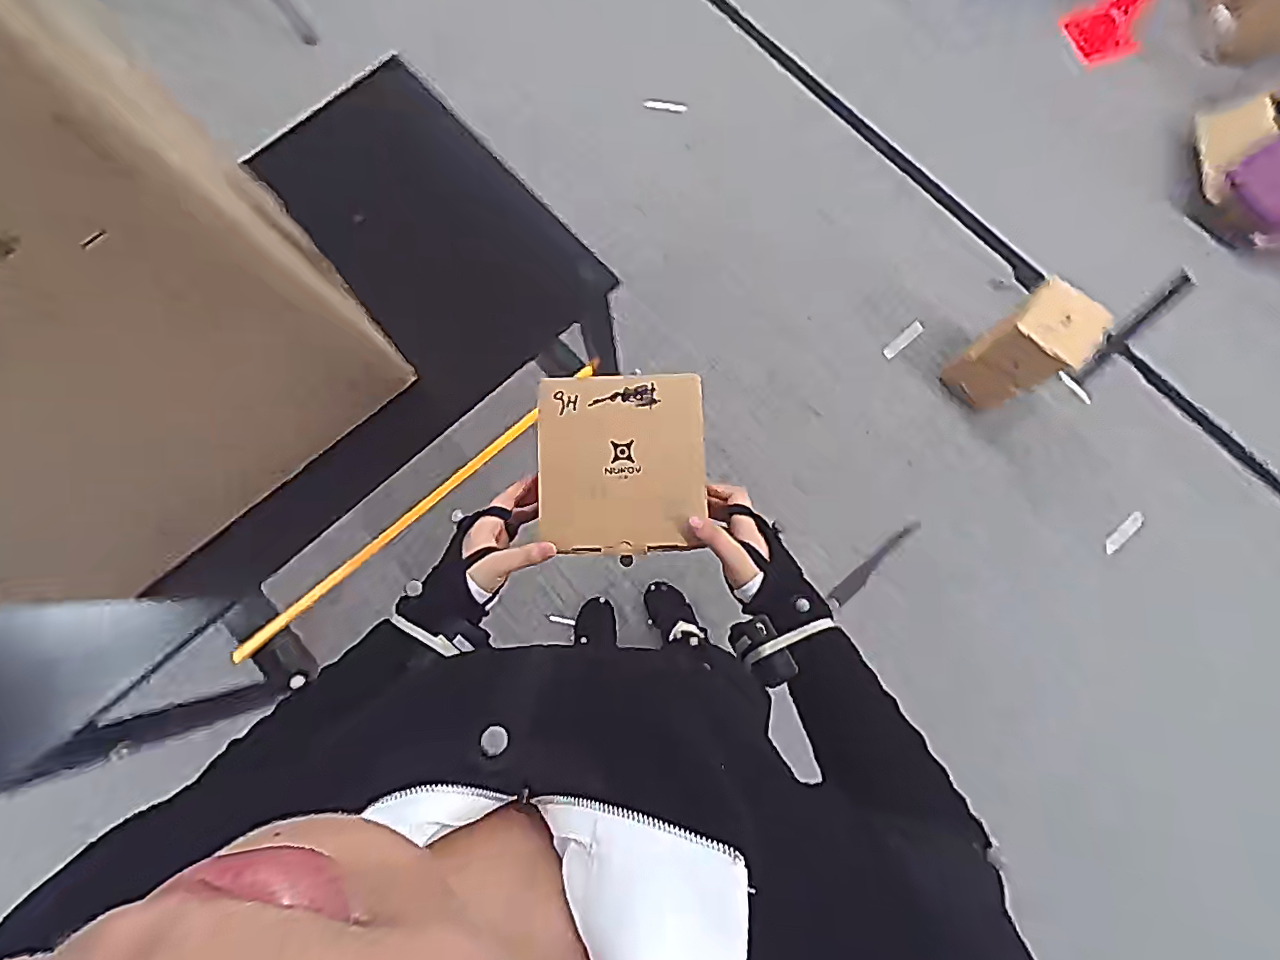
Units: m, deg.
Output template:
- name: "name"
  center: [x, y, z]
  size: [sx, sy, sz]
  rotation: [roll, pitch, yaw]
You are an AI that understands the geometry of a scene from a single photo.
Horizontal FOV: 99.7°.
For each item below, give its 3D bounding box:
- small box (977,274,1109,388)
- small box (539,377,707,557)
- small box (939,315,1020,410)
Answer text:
- name: "small box"
  center: [0.994, -0.365, 1.352]
  size: [0.168, 0.176, 0.179]
  rotation: [39, 82, 9]
- name: "small box"
  center: [-0.015, -0.006, 0.605]
  size: [0.168, 0.176, 0.179]
  rotation: [-1, 83, 1]
- name: "small box"
  center: [0.986, -0.327, 1.513]
  size: [0.168, 0.176, 0.179]
  rotation: [44, 84, 9]
